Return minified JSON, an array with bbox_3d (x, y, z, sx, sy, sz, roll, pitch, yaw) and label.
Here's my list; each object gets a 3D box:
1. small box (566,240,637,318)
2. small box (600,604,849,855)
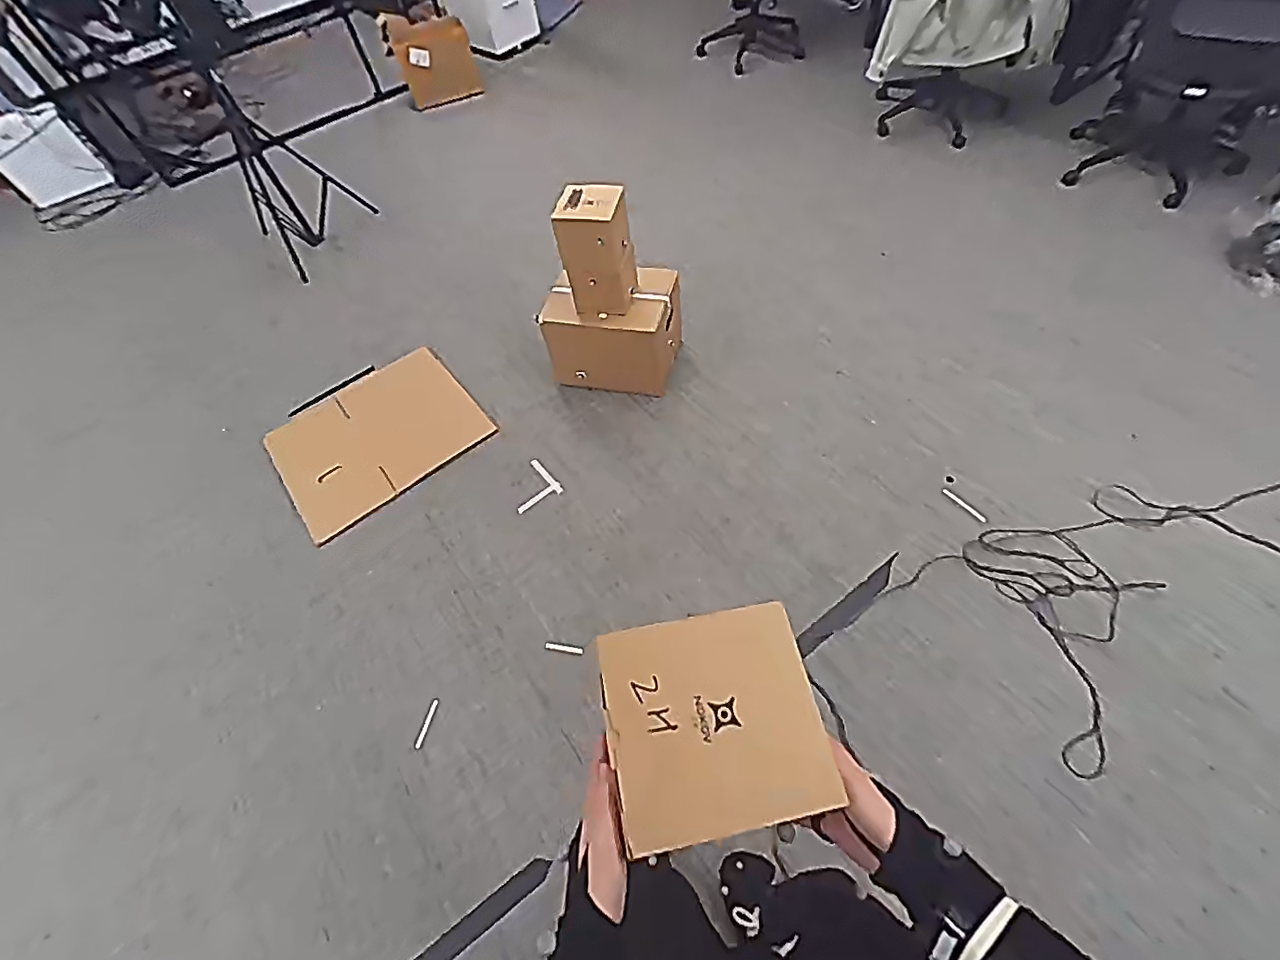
[{"bbox_3d":[-0.116,-0.638,1.723,0.179,0.176,0.168,7,60,11],"label":"small box"},{"bbox_3d":[0.059,0.231,0.509,0.179,0.176,0.168,-8,60,-7],"label":"small box"}]
